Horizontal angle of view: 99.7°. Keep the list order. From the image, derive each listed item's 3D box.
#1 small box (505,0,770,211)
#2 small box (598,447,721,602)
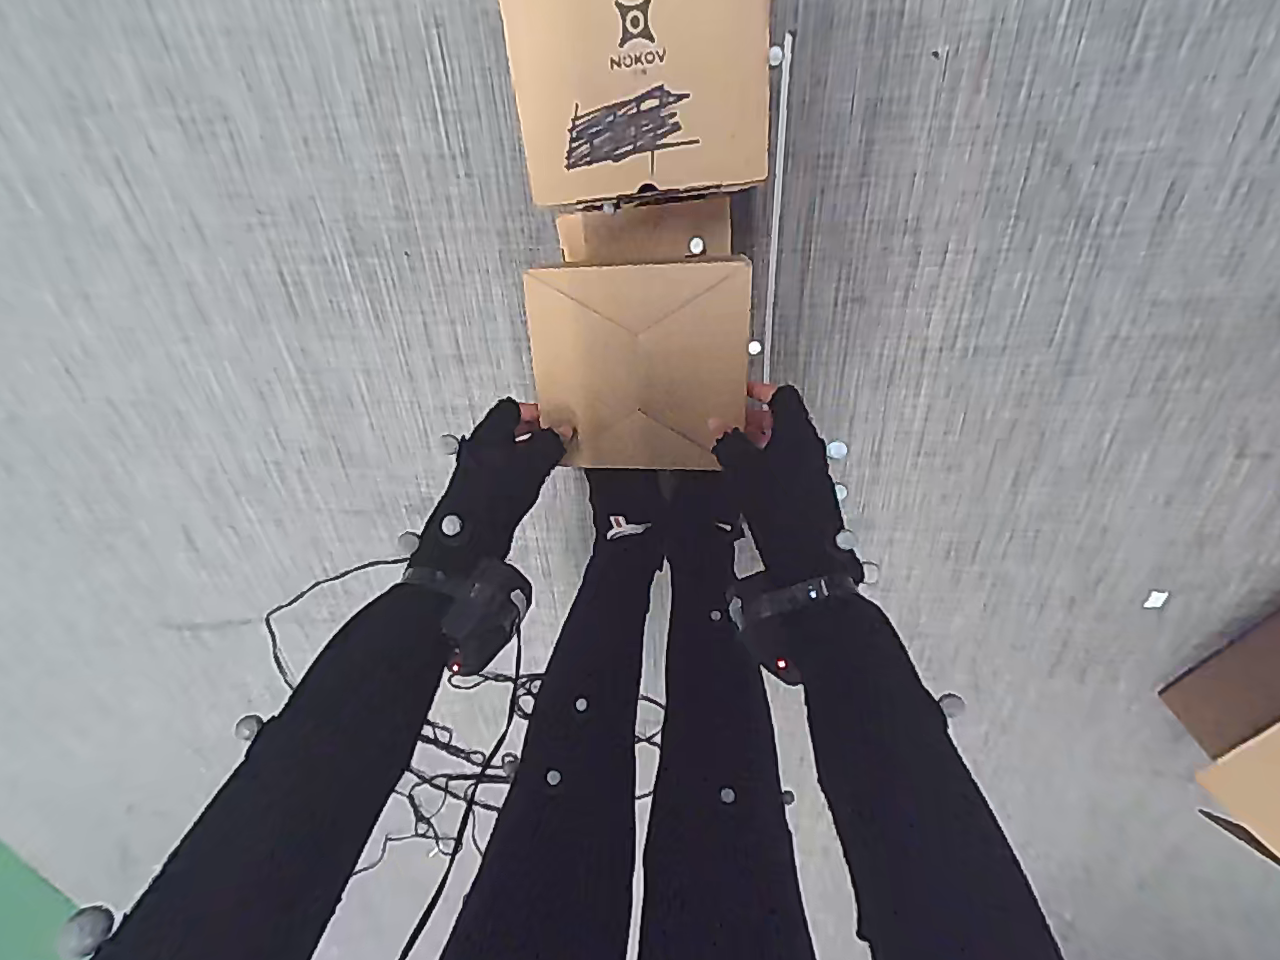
[{"bbox_3d":[0.008,-0.310,0.407,0.168,0.176,0.179,-2,118,8],"label":"small box"},{"bbox_3d":[0.021,0.068,0.844,0.168,0.176,0.179,1,123,-5],"label":"small box"}]
